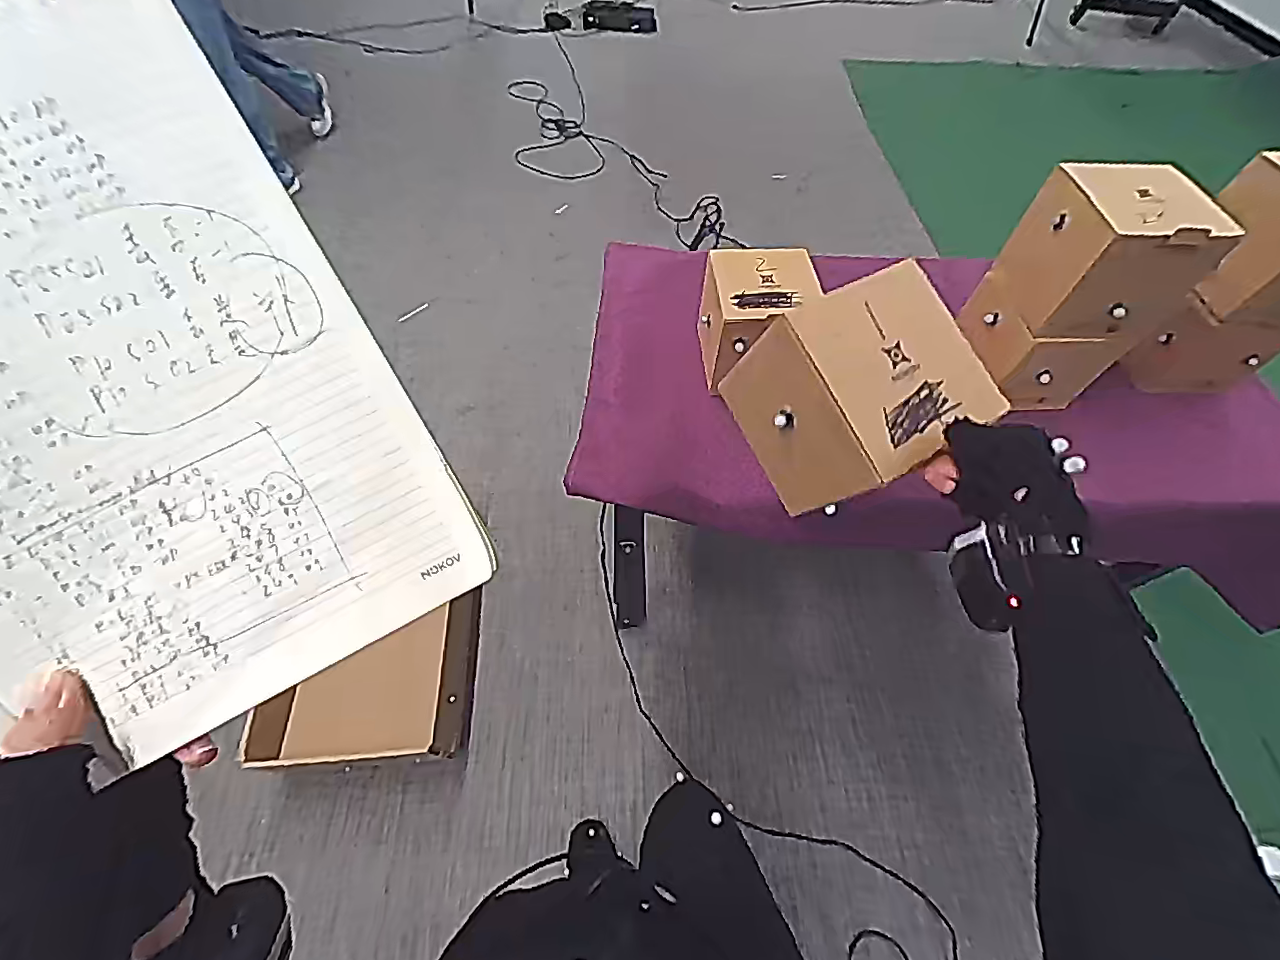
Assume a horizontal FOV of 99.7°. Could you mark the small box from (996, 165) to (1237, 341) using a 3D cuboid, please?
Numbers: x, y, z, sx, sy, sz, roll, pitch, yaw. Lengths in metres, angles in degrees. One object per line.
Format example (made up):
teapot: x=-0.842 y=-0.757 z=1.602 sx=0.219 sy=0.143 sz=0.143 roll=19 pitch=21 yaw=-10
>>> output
small box: x=0.665 y=-0.326 z=0.787 sx=0.168 sy=0.176 sz=0.179 roll=0 pitch=57 yaw=-1

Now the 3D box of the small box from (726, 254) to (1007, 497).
small box: x=0.219 y=-0.094 z=0.568 sx=0.168 sy=0.176 sz=0.179 roll=-25 pitch=83 yaw=-17

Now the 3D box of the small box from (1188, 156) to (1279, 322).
small box: x=0.974 y=-0.356 z=0.816 sx=0.168 sy=0.176 sz=0.179 roll=1 pitch=58 yaw=-3

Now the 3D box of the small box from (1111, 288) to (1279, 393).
small box: x=0.974 y=-0.269 z=0.956 sx=0.168 sy=0.176 sz=0.179 roll=1 pitch=57 yaw=-2

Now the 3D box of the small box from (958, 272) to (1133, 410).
small box: x=0.657 y=-0.232 z=0.922 sx=0.168 sy=0.176 sz=0.179 roll=-2 pitch=57 yaw=-3
